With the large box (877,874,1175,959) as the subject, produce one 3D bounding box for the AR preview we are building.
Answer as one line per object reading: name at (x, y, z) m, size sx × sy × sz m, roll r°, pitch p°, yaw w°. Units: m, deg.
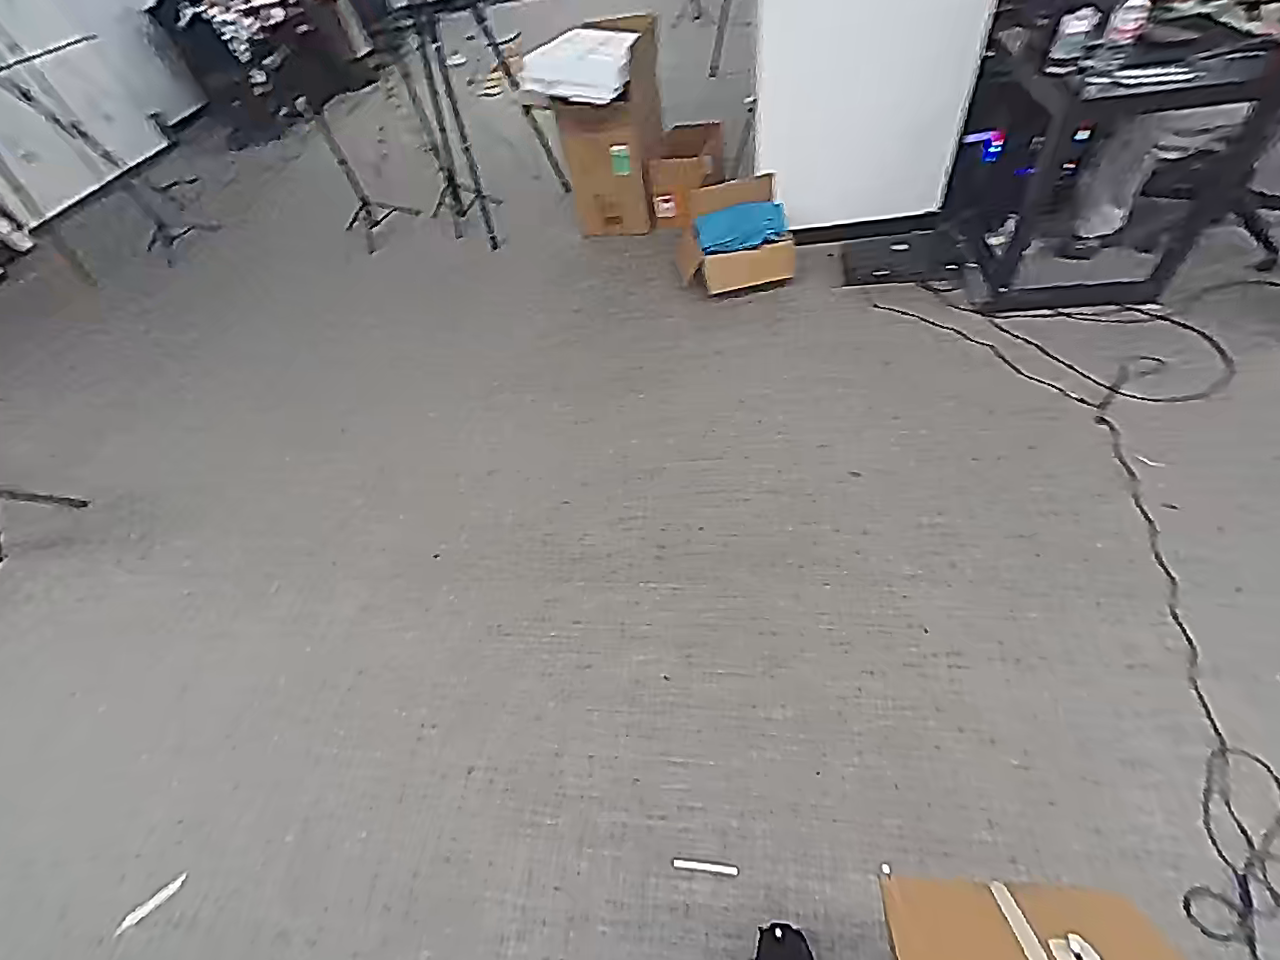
large box at (0.477, 0.720, 0.586) m, size 0.320 × 0.408 × 0.320 m, roll -7°, pitch 83°, yaw 15°
